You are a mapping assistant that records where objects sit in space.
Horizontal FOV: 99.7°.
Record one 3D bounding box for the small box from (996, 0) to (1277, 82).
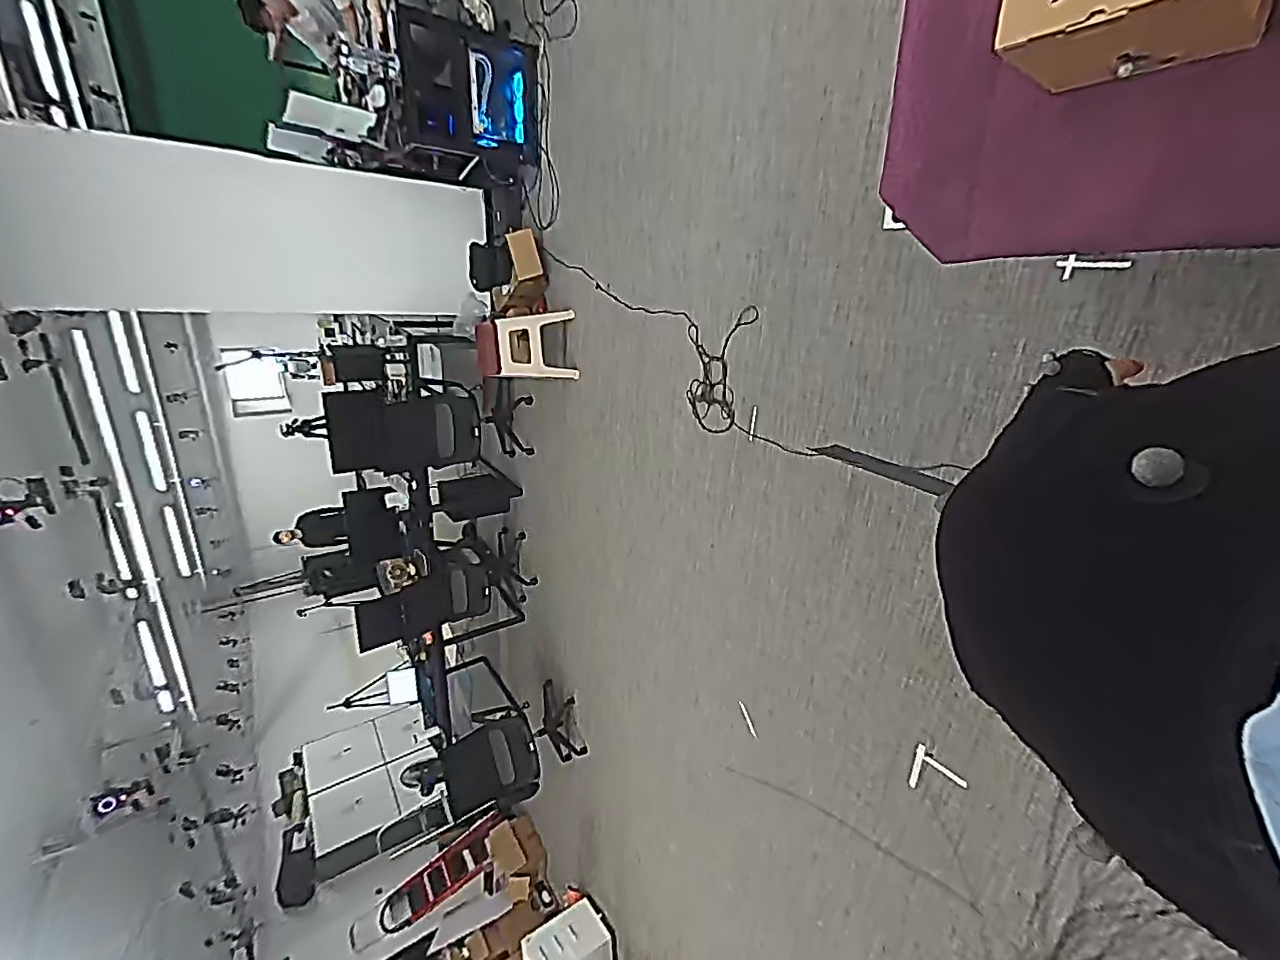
[{"bbox_3d":[0.458,-0.494,0.478,0.168,0.176,0.179,25,120,50],"label":"small box"}]
